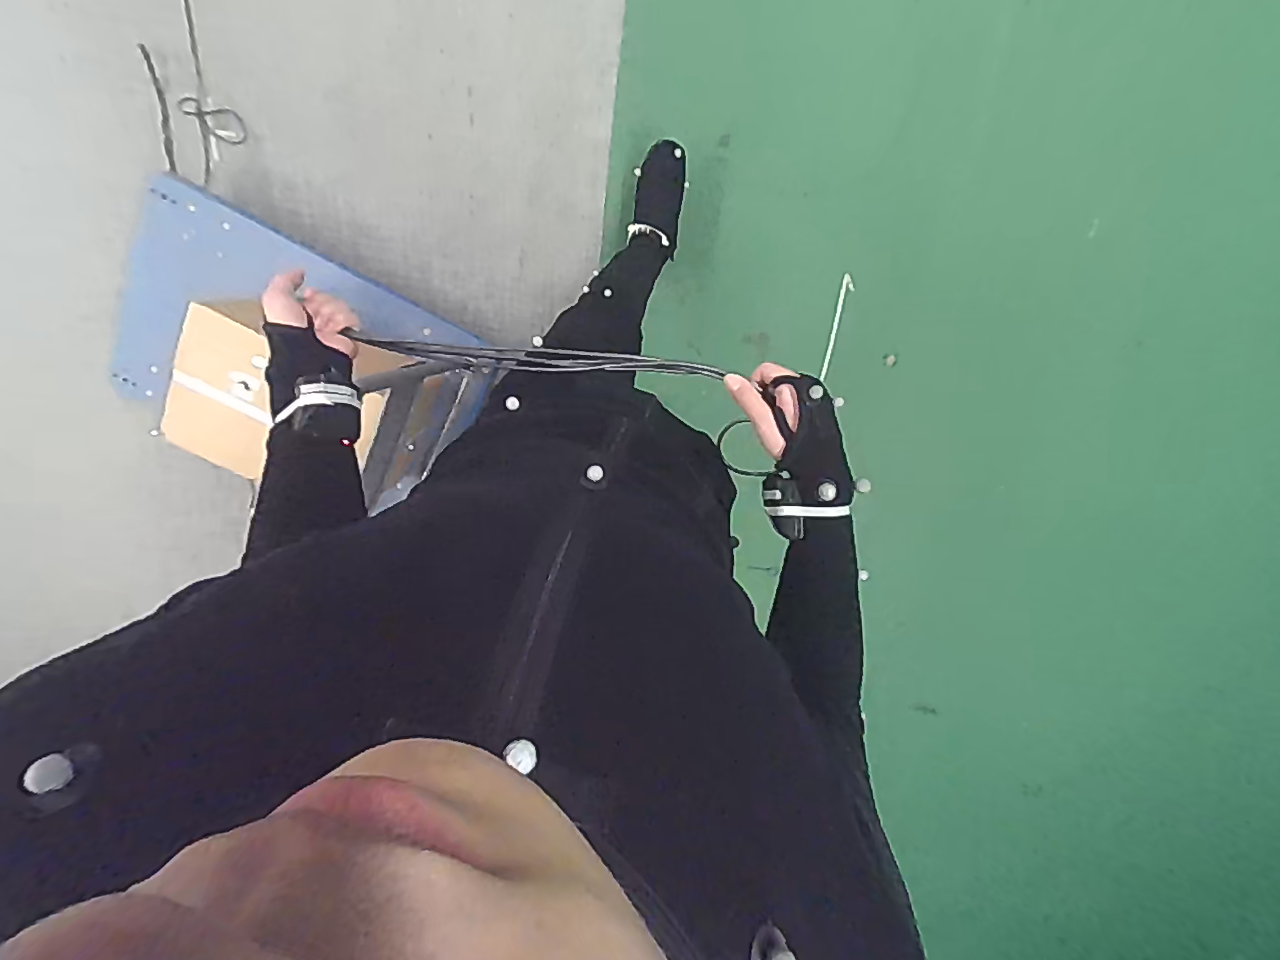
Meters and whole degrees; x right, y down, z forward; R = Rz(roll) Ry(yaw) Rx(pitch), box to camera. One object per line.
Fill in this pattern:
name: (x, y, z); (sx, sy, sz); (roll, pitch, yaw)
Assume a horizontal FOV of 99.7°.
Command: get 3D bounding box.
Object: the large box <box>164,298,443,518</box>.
large box: (-0.735, -0.177, 1.233); (0.408, 0.320, 0.320); (28, 108, -7)
